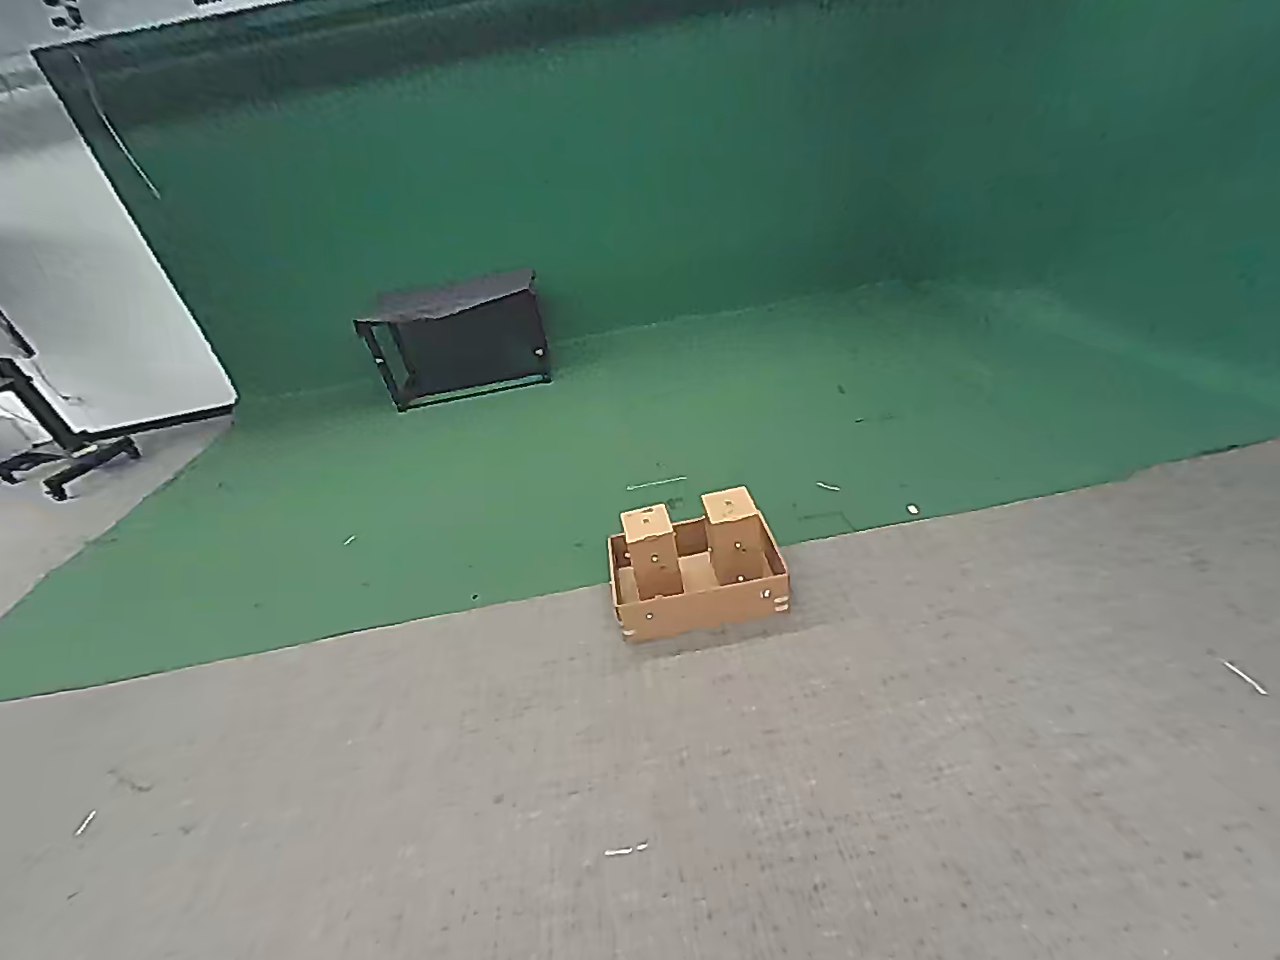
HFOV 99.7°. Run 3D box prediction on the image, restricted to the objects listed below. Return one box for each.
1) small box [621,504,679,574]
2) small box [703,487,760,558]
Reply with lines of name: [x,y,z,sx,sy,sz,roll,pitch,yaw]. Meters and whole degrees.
small box: [0.036,0.216,1.928,0.168,0.176,0.179,-13,35,-3]
small box: [0.326,0.152,1.938,0.168,0.176,0.179,-12,35,0]
